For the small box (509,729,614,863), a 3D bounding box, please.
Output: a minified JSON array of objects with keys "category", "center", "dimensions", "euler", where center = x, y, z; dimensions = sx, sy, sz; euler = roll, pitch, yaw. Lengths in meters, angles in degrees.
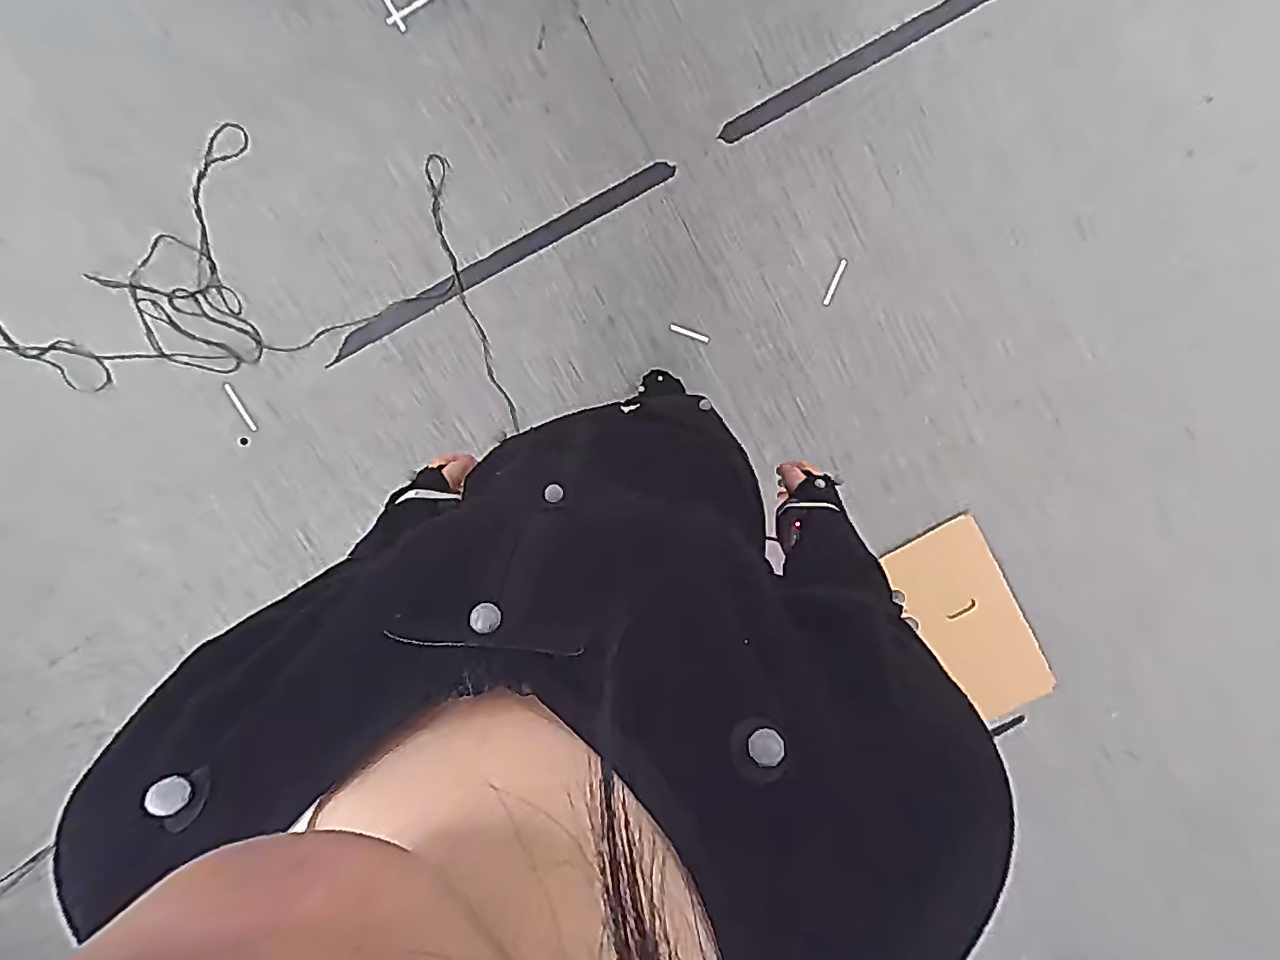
[{"category":"small box","center":[-0.165,0.690,1.200],"dimensions":[0.179,0.176,0.168],"euler":[21,97,-2]}]
